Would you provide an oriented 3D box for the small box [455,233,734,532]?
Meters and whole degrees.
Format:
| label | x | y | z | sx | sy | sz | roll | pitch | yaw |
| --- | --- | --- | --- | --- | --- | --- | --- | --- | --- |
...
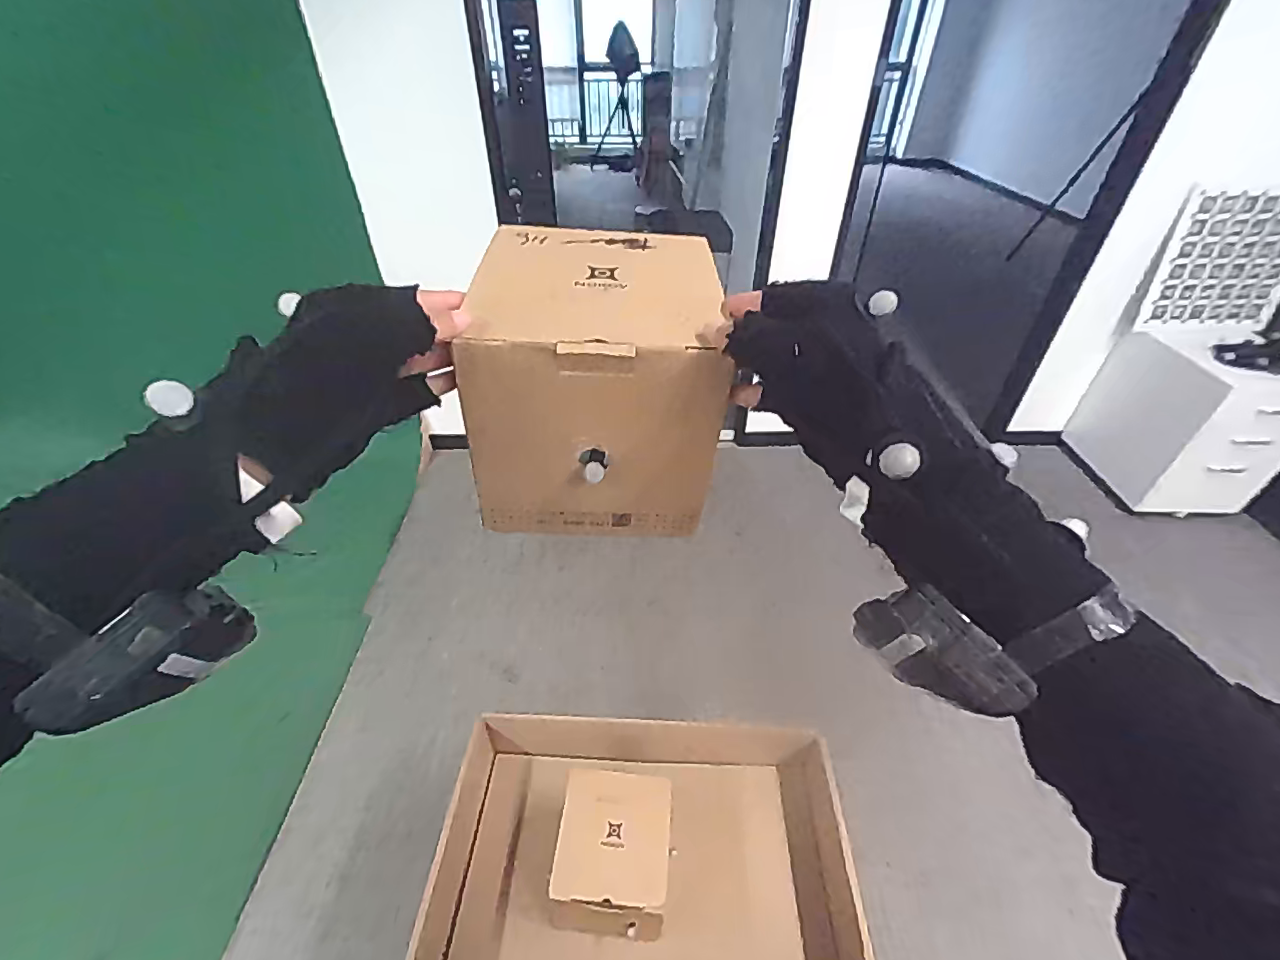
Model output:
| label | x | y | z | sx | sy | sz | roll | pitch | yaw |
| --- | --- | --- | --- | --- | --- | --- | --- | --- | --- |
| small box | -0.030 | -0.074 | 0.425 | 0.168 | 0.176 | 0.179 | 1 | 44 | -3 |

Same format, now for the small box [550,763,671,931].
| label | x | y | z | sx | sy | sz | roll | pitch | yaw |
| --- | --- | --- | --- | --- | --- | --- | --- | --- | --- |
| small box | -0.040 | 0.582 | 0.858 | 0.168 | 0.176 | 0.179 | 5 | 38 | 2 |
